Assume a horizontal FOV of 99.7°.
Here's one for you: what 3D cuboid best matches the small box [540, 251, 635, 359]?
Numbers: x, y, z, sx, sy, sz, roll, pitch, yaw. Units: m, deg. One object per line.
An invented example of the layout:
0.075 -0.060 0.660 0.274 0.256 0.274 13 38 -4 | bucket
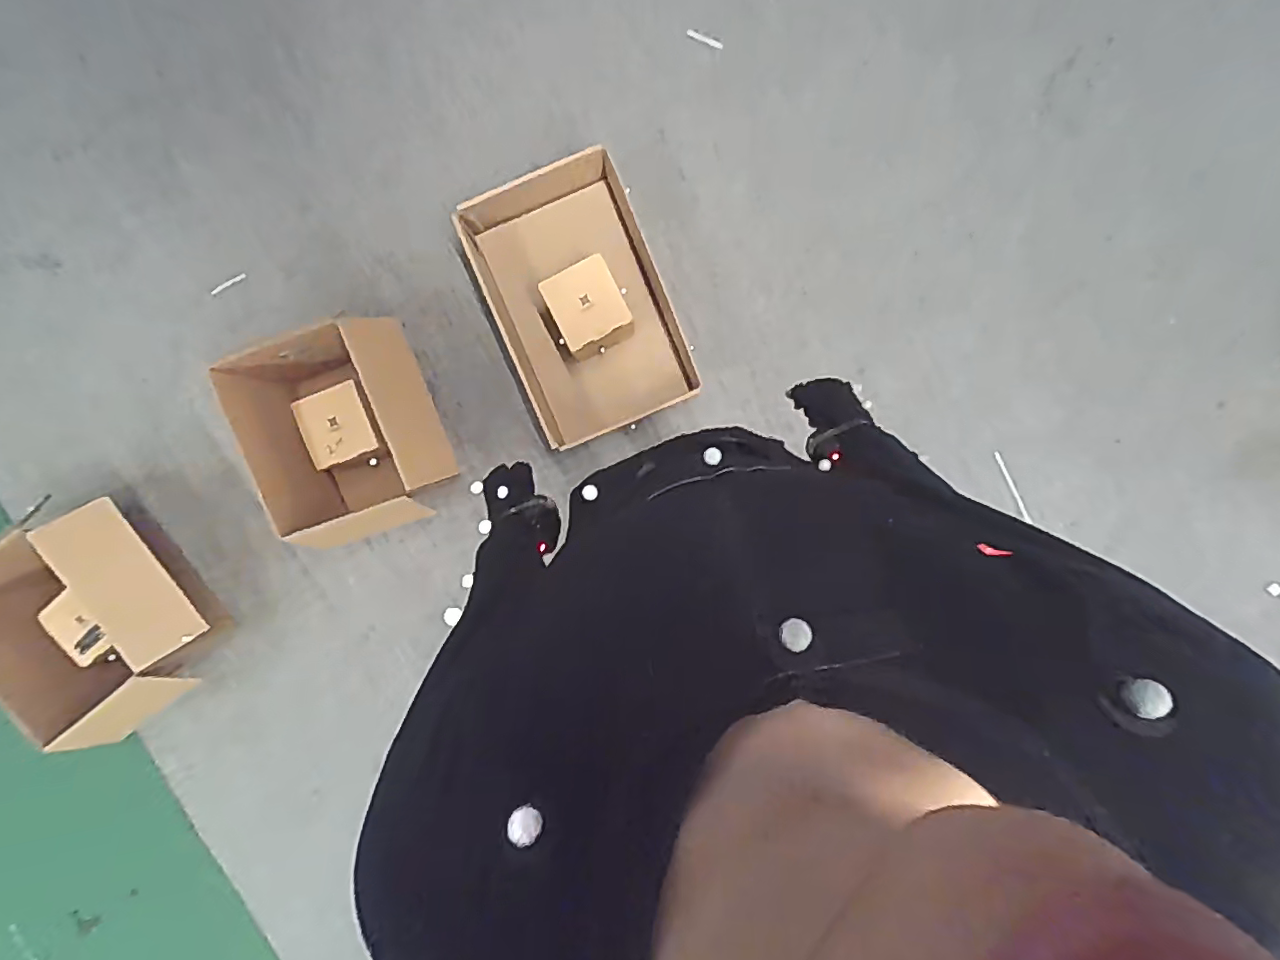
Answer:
-0.122 -0.416 1.318 0.168 0.176 0.179 -27 94 2 | small box
